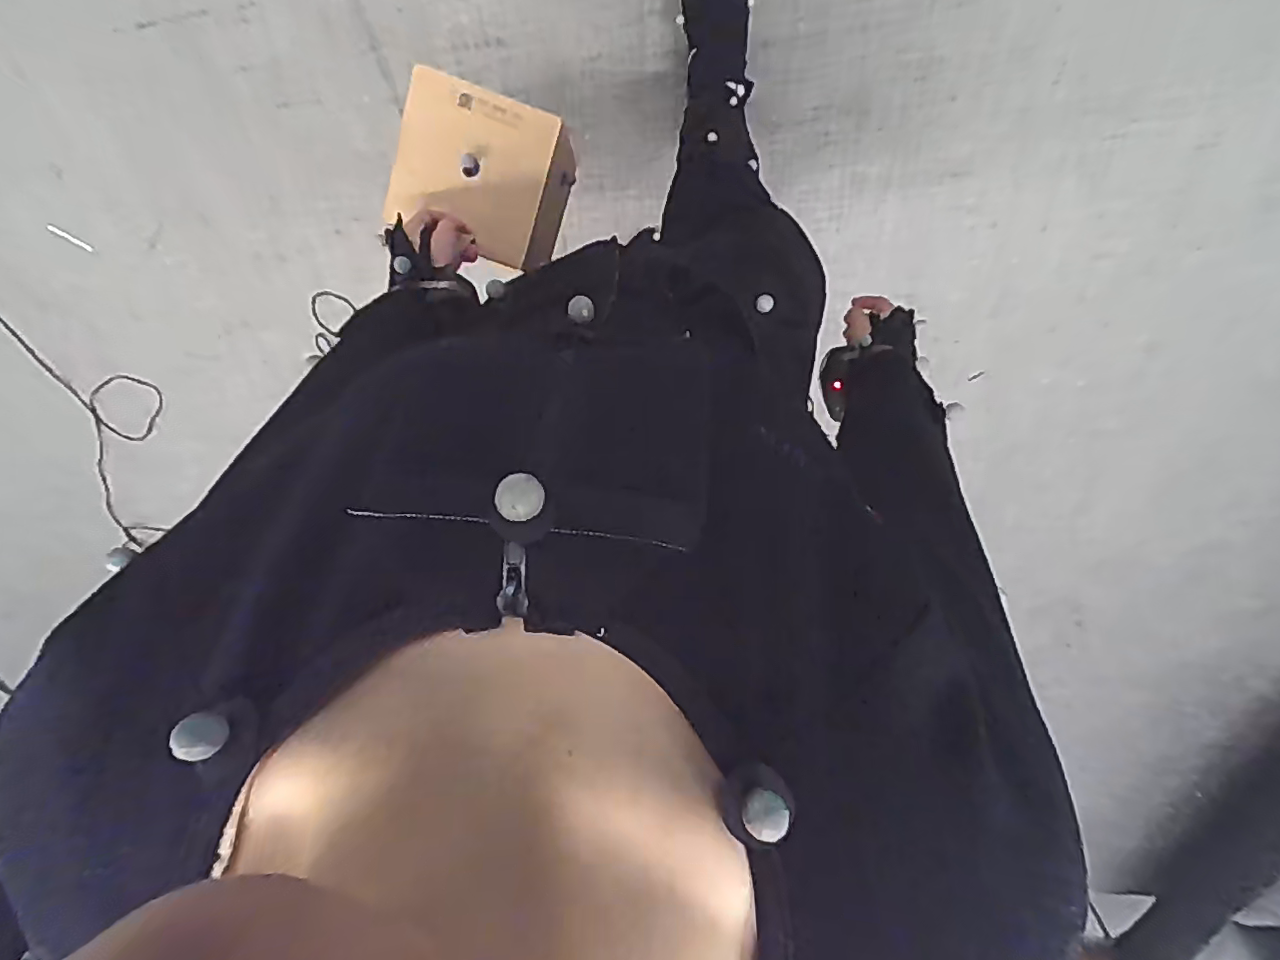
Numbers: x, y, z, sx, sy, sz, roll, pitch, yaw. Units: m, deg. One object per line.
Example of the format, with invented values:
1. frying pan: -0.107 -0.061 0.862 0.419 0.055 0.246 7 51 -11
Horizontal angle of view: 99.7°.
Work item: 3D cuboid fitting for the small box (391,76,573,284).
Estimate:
1. small box: -0.189 -0.364 0.684 0.168 0.179 0.176 16 103 -6
